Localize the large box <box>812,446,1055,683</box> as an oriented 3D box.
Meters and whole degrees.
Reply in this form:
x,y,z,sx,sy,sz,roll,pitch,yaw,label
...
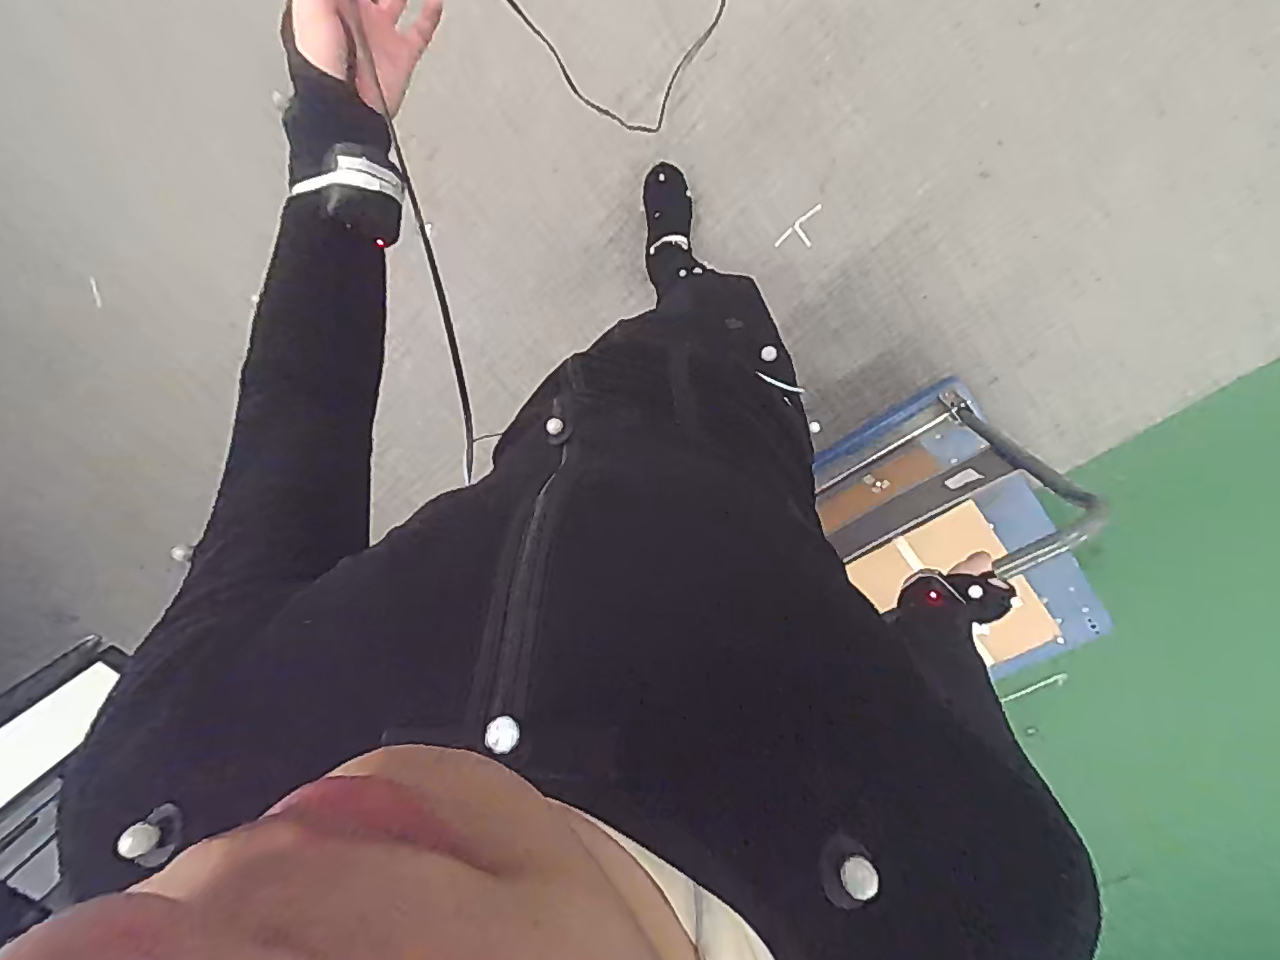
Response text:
x,y,z,sx,sy,sz,roll,pitch,yaw,label
0.677,0.195,1.310,0.320,0.320,0.408,-35,105,22,large box
